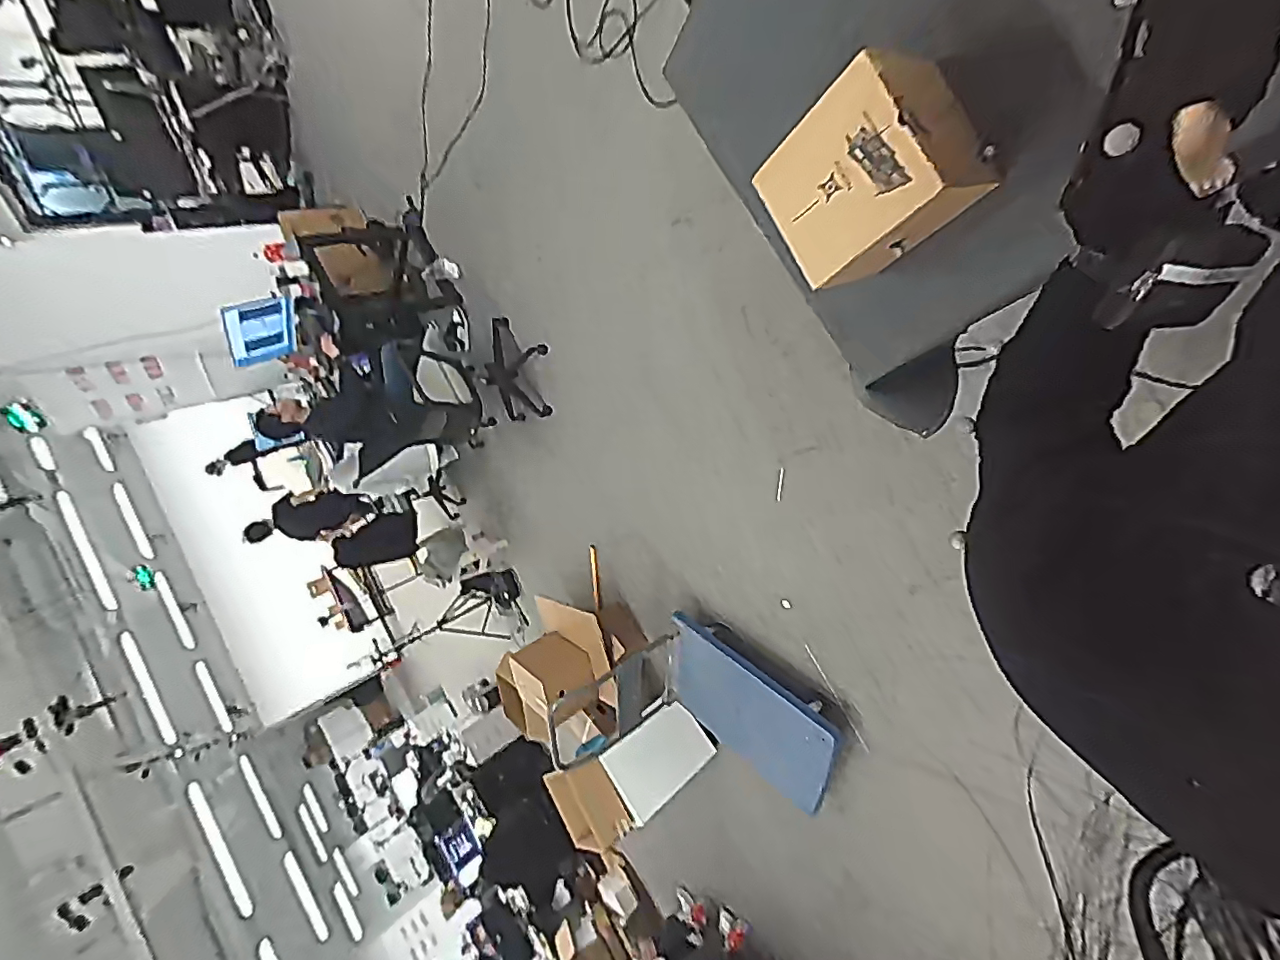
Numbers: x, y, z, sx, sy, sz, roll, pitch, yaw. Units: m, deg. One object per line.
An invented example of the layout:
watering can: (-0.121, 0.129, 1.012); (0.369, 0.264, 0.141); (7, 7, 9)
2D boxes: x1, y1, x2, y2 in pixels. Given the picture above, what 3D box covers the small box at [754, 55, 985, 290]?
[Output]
small box: (0.281, -0.363, 0.656); (0.179, 0.176, 0.168); (-33, 84, 55)
